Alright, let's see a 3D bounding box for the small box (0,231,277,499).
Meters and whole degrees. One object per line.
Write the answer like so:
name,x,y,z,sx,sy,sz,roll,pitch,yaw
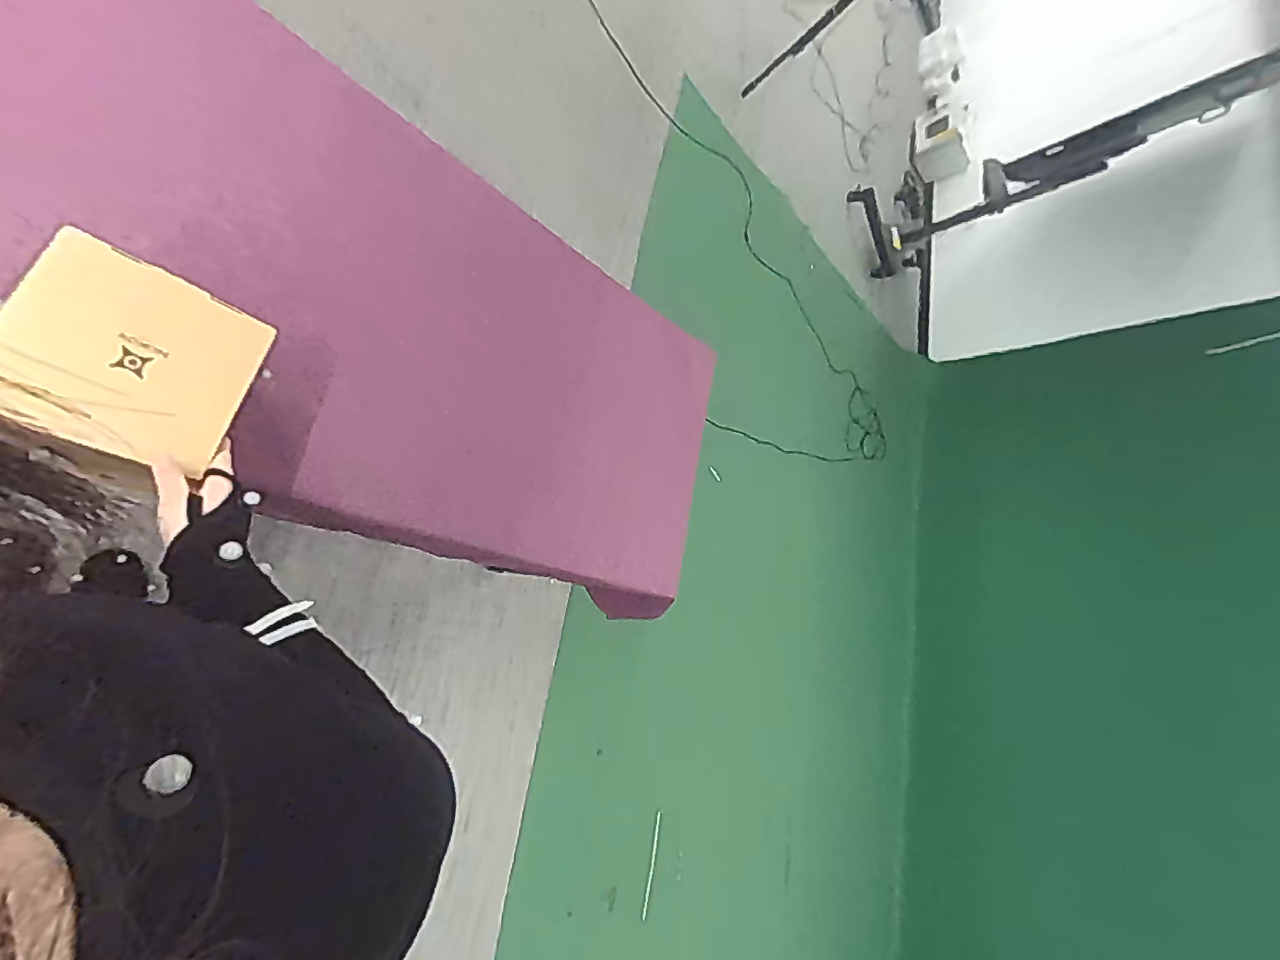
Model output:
small box,-0.499,-0.092,0.532,0.168,0.176,0.179,29,61,-39
